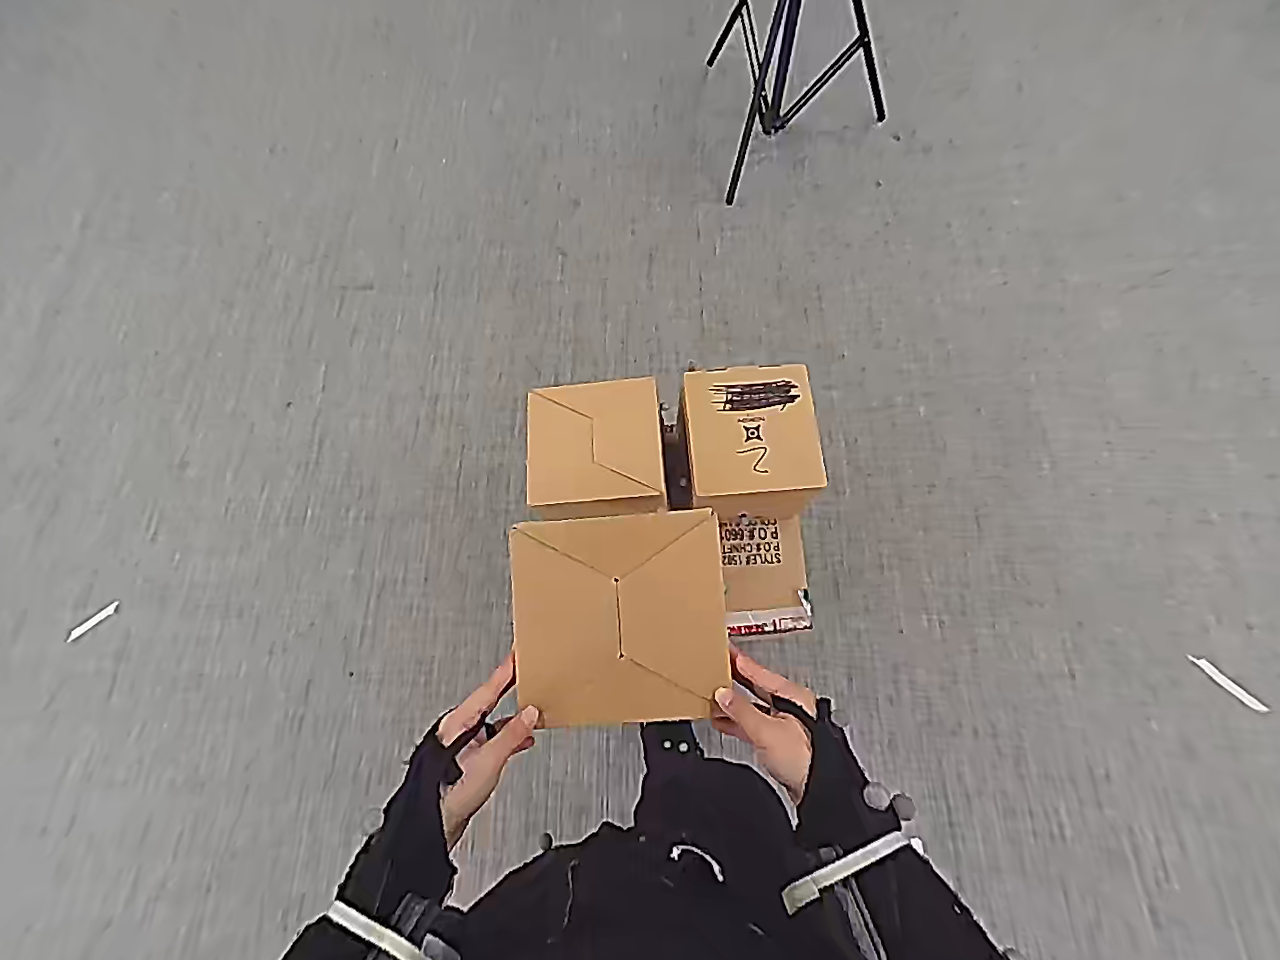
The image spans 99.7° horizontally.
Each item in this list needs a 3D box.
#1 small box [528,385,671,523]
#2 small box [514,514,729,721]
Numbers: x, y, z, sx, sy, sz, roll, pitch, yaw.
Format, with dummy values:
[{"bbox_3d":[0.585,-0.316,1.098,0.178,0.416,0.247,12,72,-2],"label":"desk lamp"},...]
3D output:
[{"bbox_3d":[-0.051,-0.025,0.781,0.179,0.176,0.168,-5,72,4],"label":"small box"},{"bbox_3d":[-0.018,0.124,0.529,0.179,0.176,0.168,-4,83,1],"label":"small box"}]
